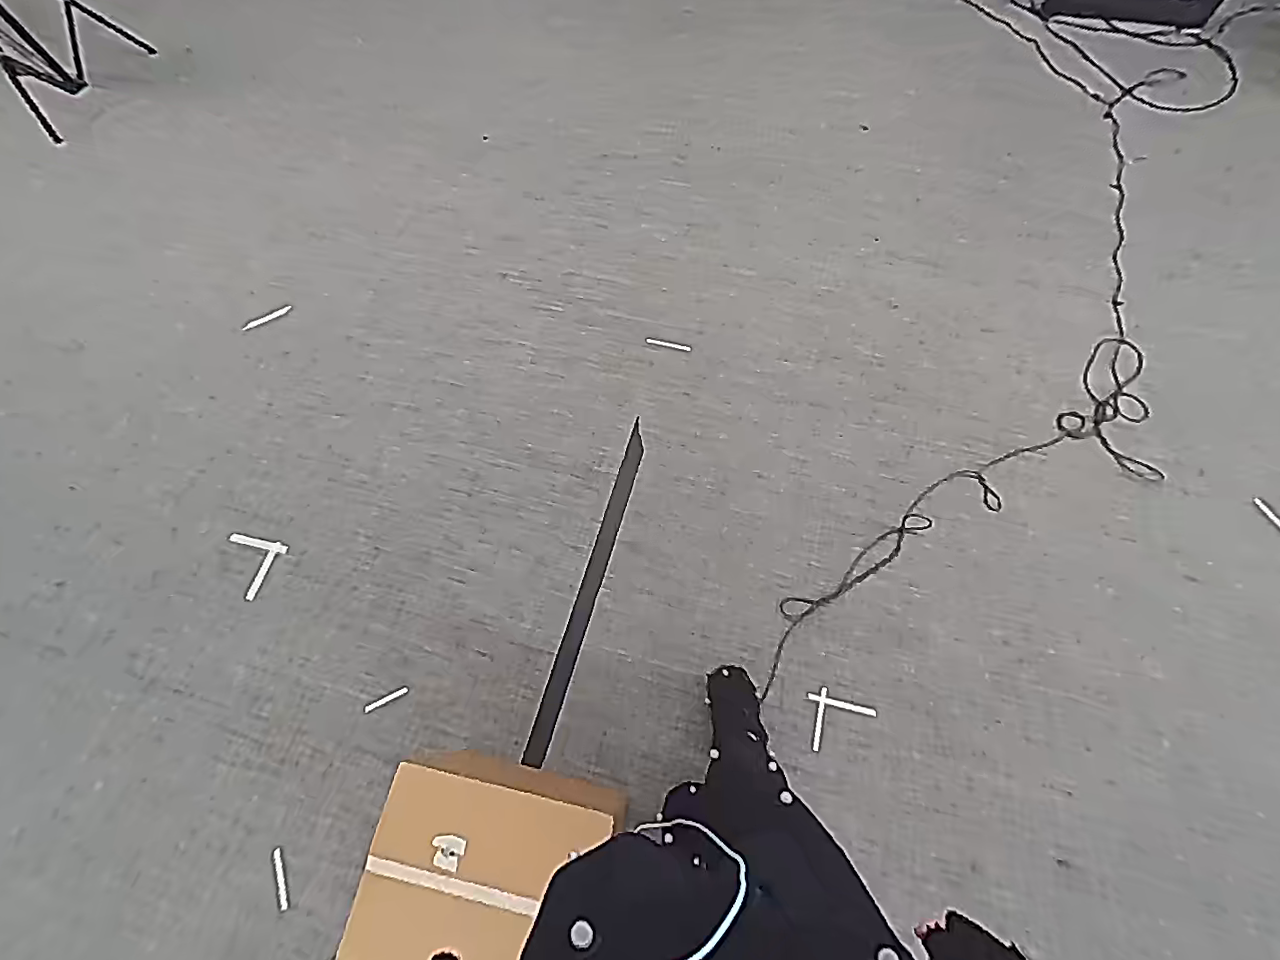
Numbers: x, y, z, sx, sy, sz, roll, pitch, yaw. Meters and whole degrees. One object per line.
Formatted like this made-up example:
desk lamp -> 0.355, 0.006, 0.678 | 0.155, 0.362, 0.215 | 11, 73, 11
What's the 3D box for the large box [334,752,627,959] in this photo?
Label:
large box -> -0.261, 0.738, 1.033 | 0.408, 0.320, 0.320 | 9, 67, 9
